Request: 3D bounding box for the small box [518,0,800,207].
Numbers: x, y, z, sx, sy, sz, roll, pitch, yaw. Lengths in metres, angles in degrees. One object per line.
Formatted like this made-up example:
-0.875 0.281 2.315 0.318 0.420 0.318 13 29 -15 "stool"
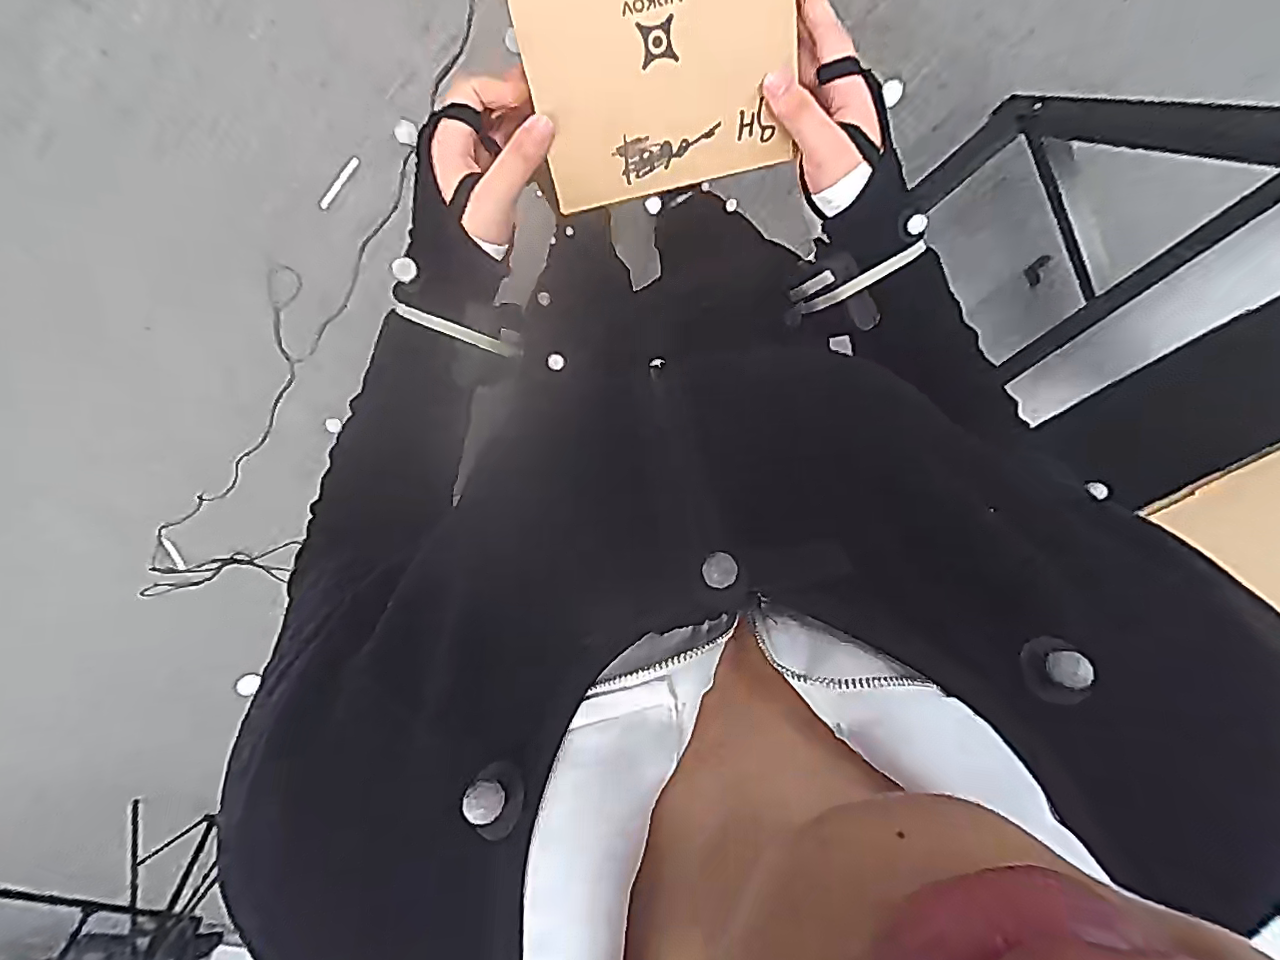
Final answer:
0.006 -0.313 0.390 0.168 0.176 0.179 -12 122 3 "small box"
